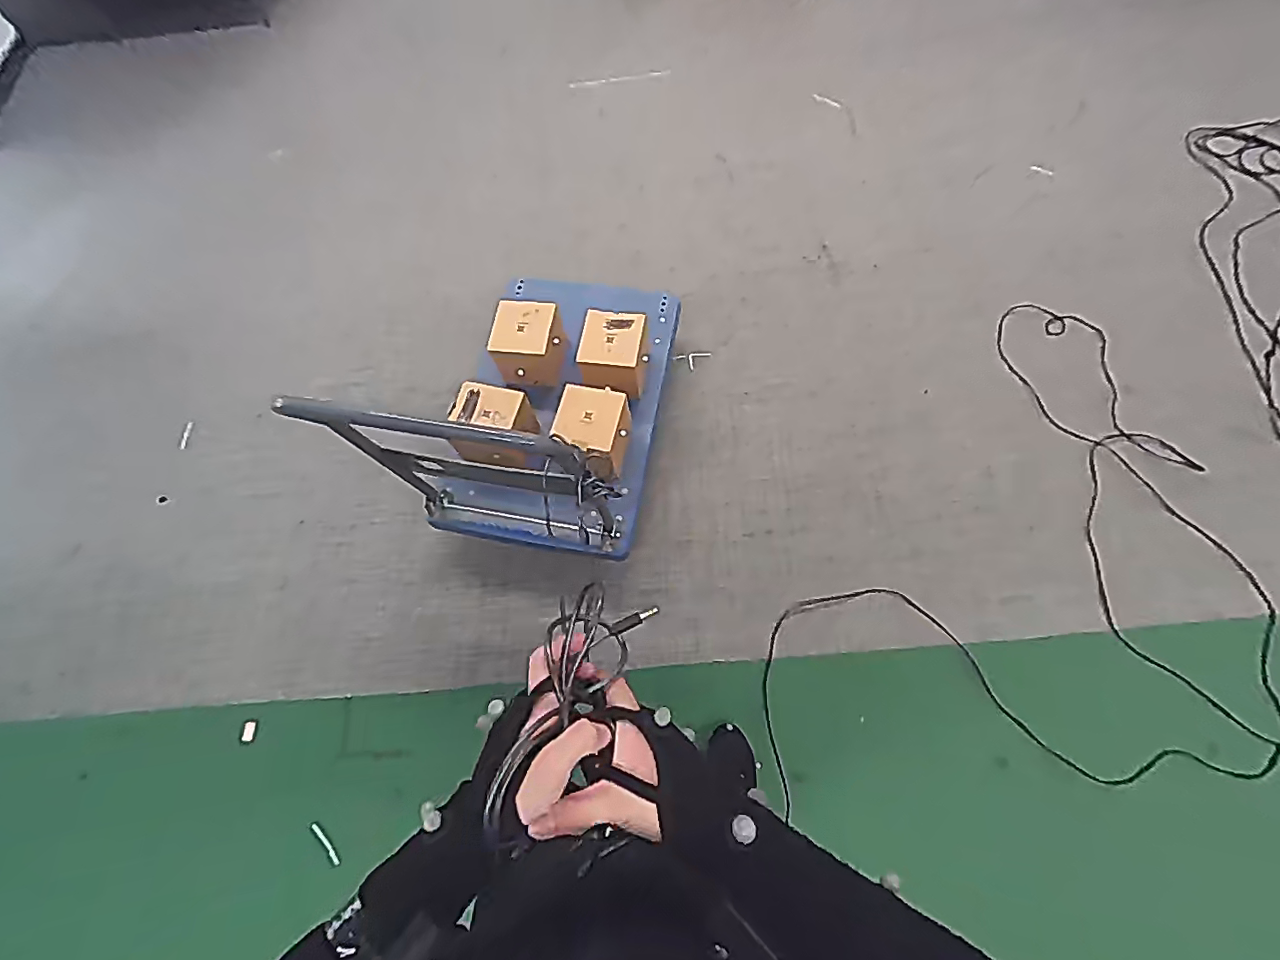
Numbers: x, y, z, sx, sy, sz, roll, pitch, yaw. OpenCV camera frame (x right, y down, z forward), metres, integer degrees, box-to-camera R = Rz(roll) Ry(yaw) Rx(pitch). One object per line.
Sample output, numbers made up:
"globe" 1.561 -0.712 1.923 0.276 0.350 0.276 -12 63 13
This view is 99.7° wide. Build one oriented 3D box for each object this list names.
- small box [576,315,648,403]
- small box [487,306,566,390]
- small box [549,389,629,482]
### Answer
"small box" -0.072 -0.342 1.539 0.168 0.176 0.179 7 69 8
"small box" -0.322 -0.380 1.575 0.168 0.176 0.179 6 68 6
"small box" -0.128 -0.116 1.451 0.168 0.176 0.179 10 69 9
